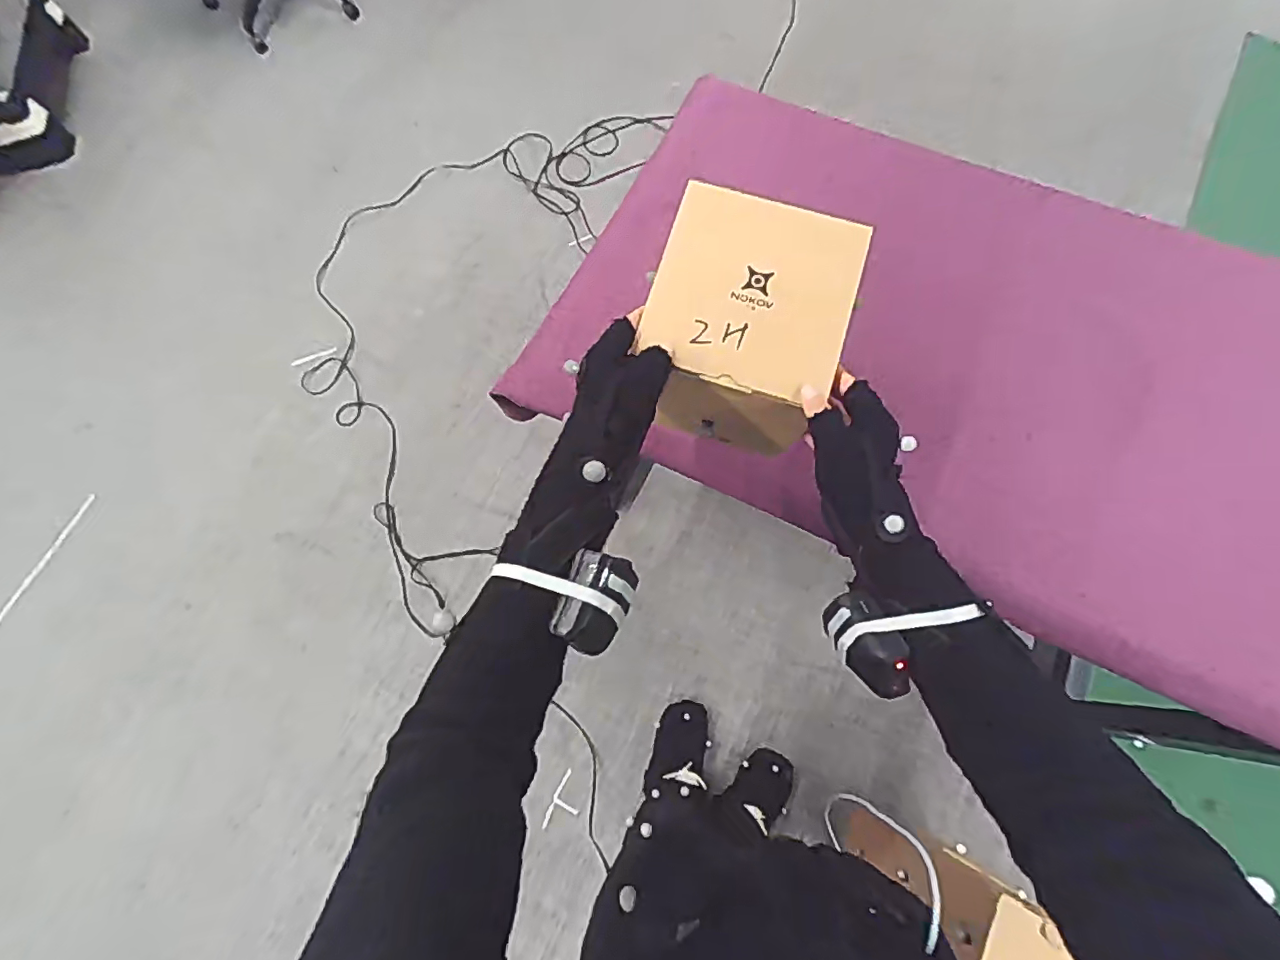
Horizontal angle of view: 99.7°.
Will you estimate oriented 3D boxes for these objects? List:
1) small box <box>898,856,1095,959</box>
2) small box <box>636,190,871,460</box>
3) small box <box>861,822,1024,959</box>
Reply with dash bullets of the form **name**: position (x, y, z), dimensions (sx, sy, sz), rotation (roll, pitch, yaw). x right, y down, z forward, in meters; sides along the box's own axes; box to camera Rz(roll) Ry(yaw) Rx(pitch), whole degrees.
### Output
- **small box**: position (0.505, 0.701, 0.784), dimensions (0.168, 0.176, 0.179), rotation (28, 74, 11)
- **small box**: position (0.099, -0.139, 0.539), dimensions (0.168, 0.176, 0.179), rotation (18, 80, 4)
- **small box**: position (0.511, 0.744, 0.941), dimensions (0.168, 0.176, 0.179), rotation (29, 74, 11)
